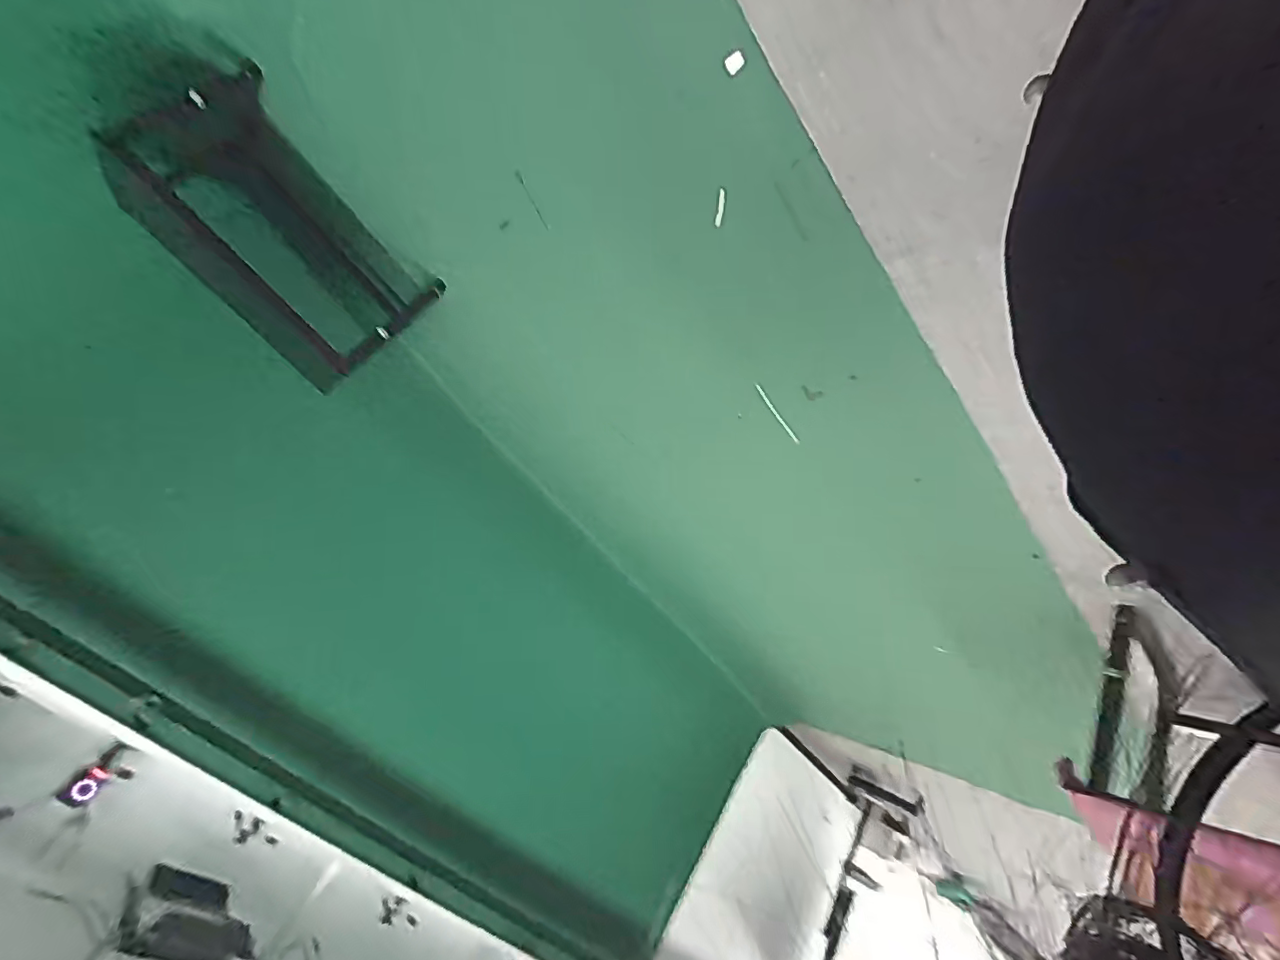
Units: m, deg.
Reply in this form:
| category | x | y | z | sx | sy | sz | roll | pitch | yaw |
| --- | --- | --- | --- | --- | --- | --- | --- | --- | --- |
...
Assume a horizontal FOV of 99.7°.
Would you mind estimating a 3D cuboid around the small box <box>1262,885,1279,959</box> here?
| category | x | y | z | sx | sy | sz | roll | pitch | yaw |
| --- | --- | --- | --- | --- | --- | --- | --- | --- | --- |
| small box | 1.590 | 1.096 | 1.252 | 0.179 | 0.176 | 0.168 | 47 | 151 | -18 |

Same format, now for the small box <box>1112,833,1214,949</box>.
| category | x | y | z | sx | sy | sz | roll | pitch | yaw |
| --- | --- | --- | --- | --- | --- | --- | --- | --- | --- |
| small box | 1.420 | 1.102 | 1.464 | 0.168 | 0.176 | 0.179 | 49 | 151 | -23 |
